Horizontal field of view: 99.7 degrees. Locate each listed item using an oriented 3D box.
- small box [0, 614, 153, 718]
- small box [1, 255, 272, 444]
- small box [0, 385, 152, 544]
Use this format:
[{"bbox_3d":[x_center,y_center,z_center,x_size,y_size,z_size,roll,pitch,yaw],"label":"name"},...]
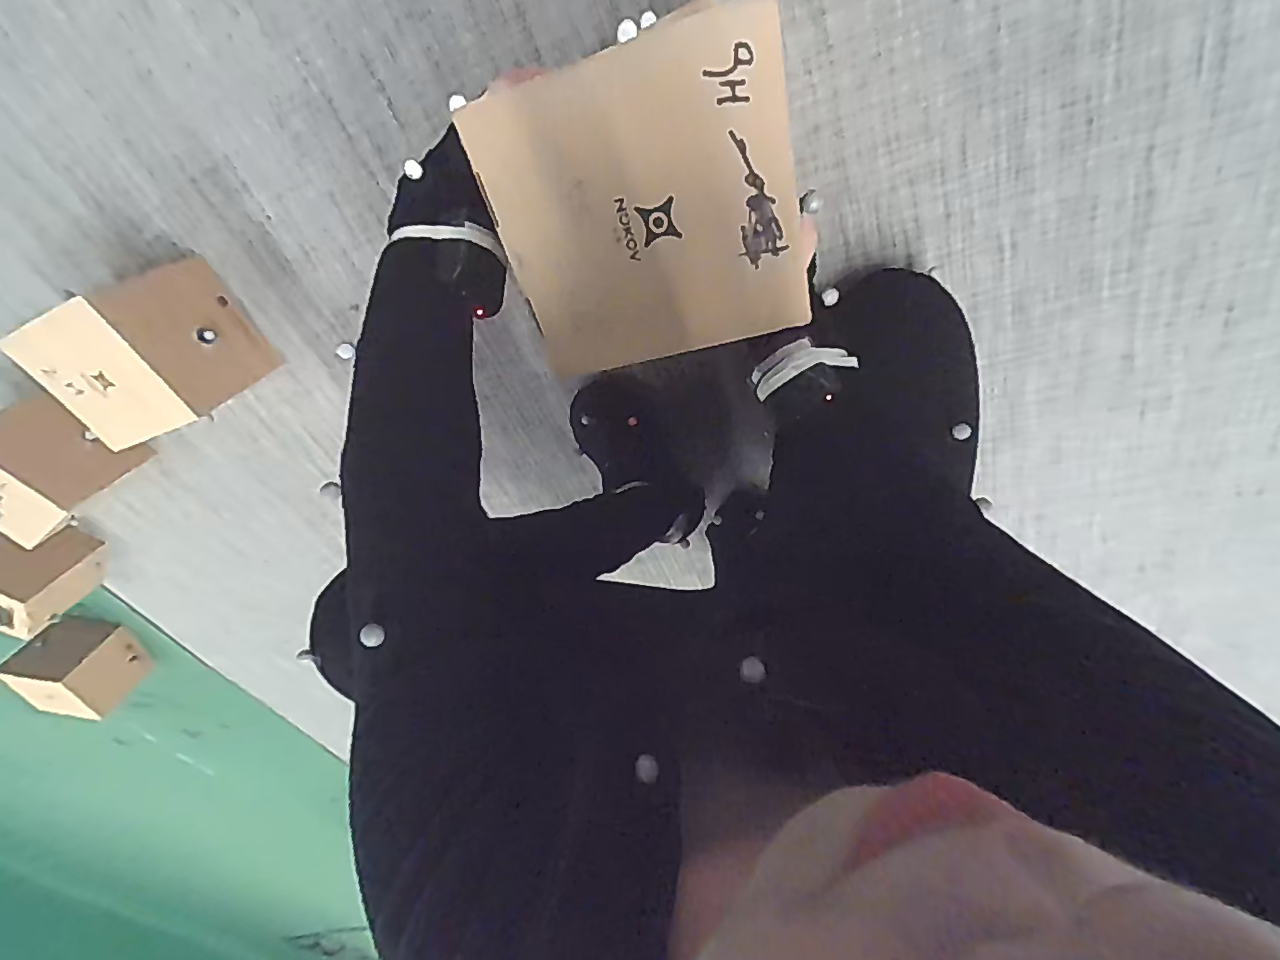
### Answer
[{"bbox_3d":[-1.372,0.452,1.326,0.179,0.176,0.168,7,128,5],"label":"small box"},{"bbox_3d":[-0.639,-0.176,0.718,0.179,0.176,0.168,-13,123,19],"label":"small box"},{"bbox_3d":[-0.970,-0.031,0.885,0.179,0.176,0.168,-25,119,25],"label":"small box"}]
